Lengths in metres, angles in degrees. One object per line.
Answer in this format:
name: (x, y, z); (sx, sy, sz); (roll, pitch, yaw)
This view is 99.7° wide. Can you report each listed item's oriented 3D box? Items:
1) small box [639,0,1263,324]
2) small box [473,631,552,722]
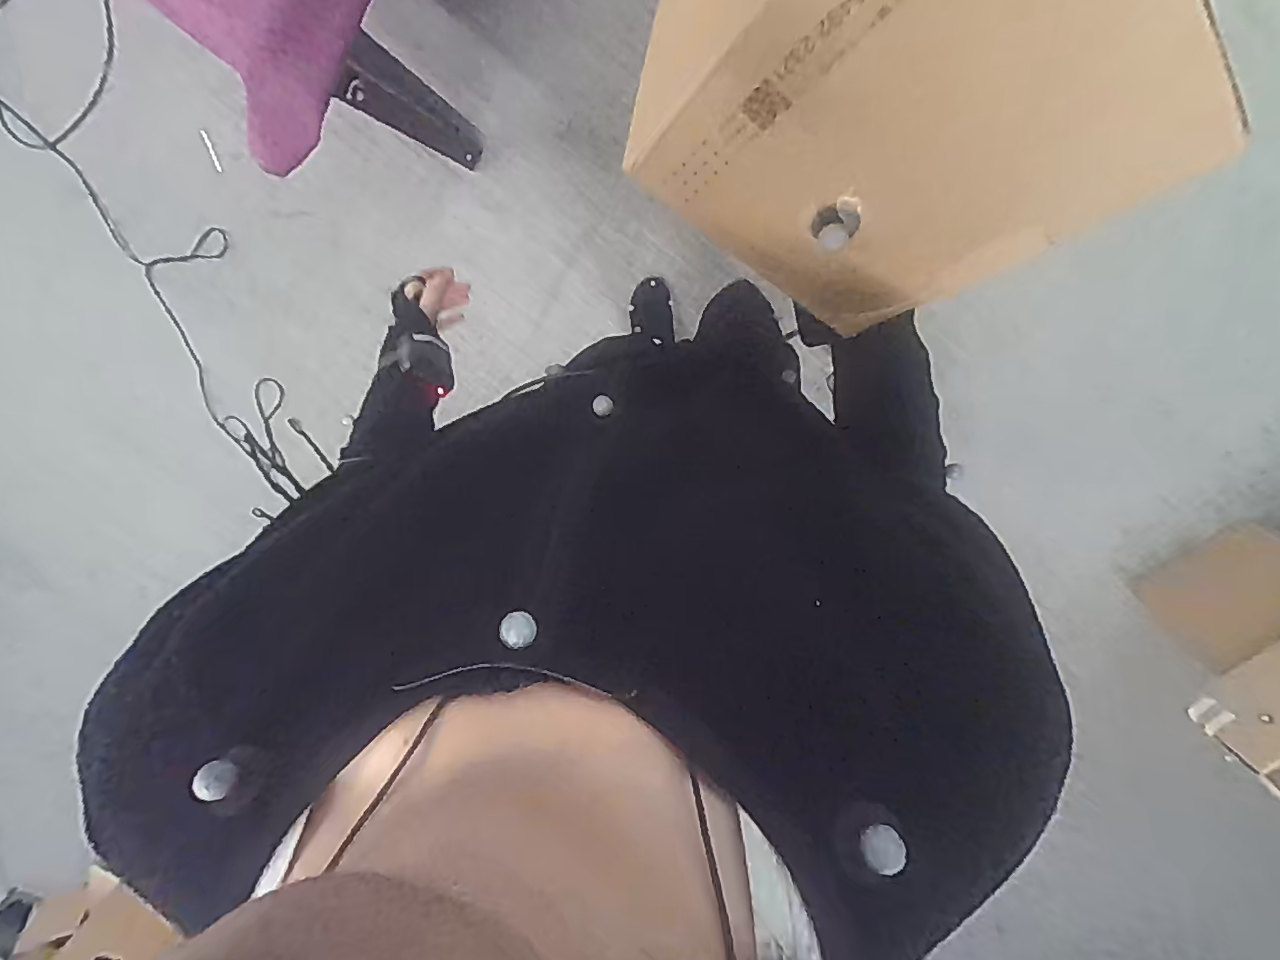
small box: (0.115, -0.212, 0.241); (0.176, 0.179, 0.168); (24, 153, -30)
small box: (-0.394, 0.613, 1.706); (0.168, 0.176, 0.179); (30, 109, -6)
